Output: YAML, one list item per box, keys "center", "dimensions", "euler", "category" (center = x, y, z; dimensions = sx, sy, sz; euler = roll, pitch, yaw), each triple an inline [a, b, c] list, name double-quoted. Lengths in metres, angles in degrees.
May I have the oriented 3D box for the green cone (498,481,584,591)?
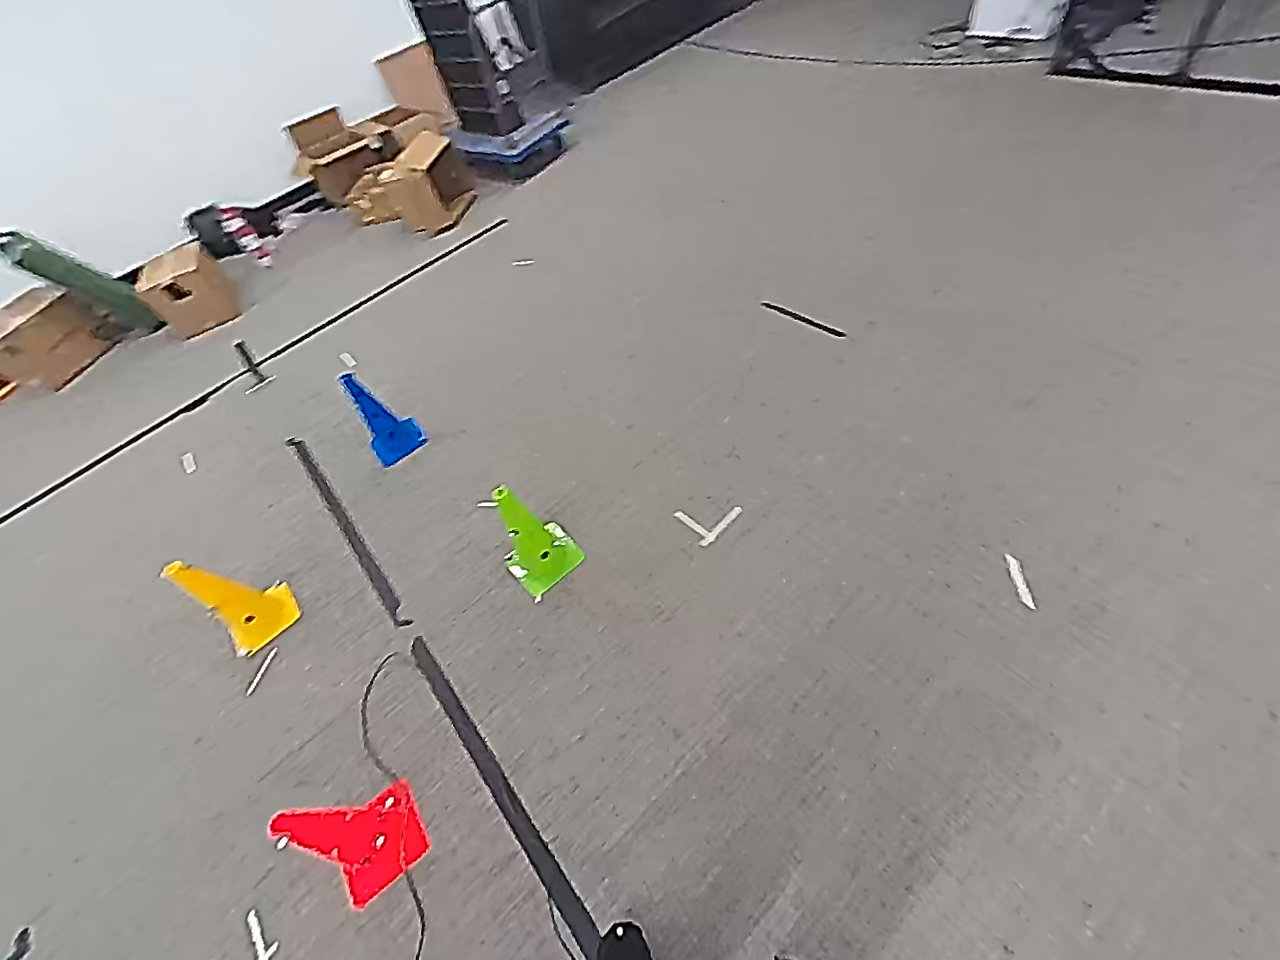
- center: [-0.332, 0.132, 1.581]
  dimensions: [0.202, 0.368, 0.200]
  euler: [-38, 54, -17]
  category: "green cone"

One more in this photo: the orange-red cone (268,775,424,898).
- center: [-0.670, 0.756, 1.183]
  dimensions: [0.199, 0.360, 0.198]
  euler: [-36, 52, -13]
  category: "orange-red cone"

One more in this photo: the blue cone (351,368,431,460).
- center: [-0.993, -0.271, 2.077]
  dimensions: [0.192, 0.380, 0.193]
  euler: [-35, 53, -15]
  category: "blue cone"
